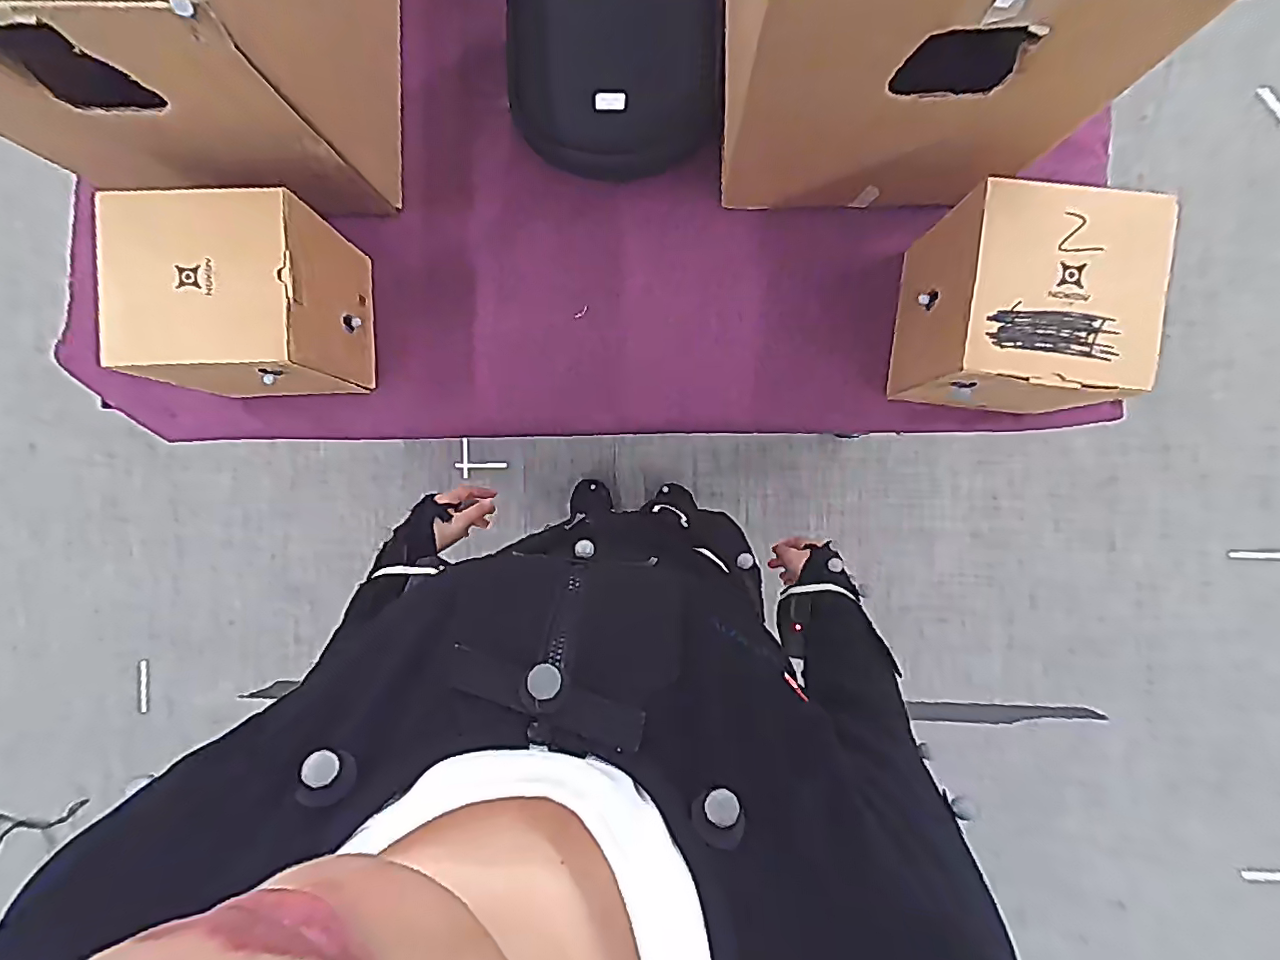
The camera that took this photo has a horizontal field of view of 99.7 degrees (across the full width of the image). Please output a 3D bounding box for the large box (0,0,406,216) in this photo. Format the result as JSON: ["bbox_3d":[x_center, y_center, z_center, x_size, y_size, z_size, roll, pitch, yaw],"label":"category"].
[{"bbox_3d":[-0.445,-0.521,0.518,0.320,0.320,0.408,-1,93,1],"label":"large box"}]
